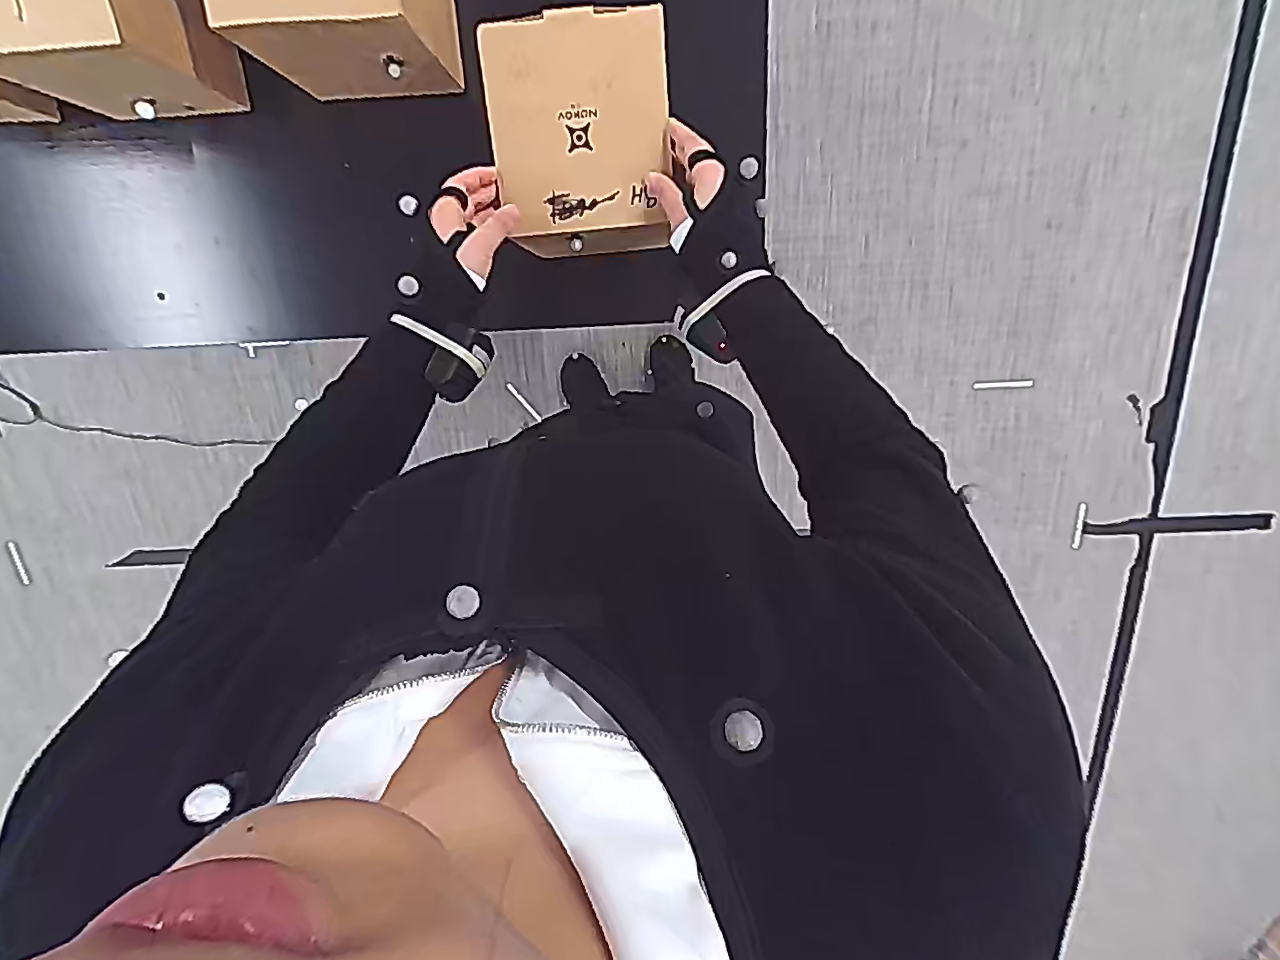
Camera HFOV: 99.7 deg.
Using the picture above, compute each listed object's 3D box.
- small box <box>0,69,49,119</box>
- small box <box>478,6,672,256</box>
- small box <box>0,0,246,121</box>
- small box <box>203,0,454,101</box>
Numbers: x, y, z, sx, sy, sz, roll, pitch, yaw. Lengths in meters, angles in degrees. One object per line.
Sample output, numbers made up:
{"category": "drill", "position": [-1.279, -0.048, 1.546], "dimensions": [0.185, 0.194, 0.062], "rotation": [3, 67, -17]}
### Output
{"category": "small box", "position": [-0.769, -0.485, 0.540], "dimensions": [0.168, 0.176, 0.179], "rotation": [0, 106, 0]}
{"category": "small box", "position": [-0.055, -0.345, 0.571], "dimensions": [0.168, 0.176, 0.179], "rotation": [-4, 106, 3]}
{"category": "small box", "position": [-0.544, -0.488, 0.536], "dimensions": [0.168, 0.176, 0.179], "rotation": [-4, 108, 1]}
{"category": "small box", "position": [-0.297, -0.501, 0.531], "dimensions": [0.179, 0.176, 0.168], "rotation": [-2, 105, 2]}
